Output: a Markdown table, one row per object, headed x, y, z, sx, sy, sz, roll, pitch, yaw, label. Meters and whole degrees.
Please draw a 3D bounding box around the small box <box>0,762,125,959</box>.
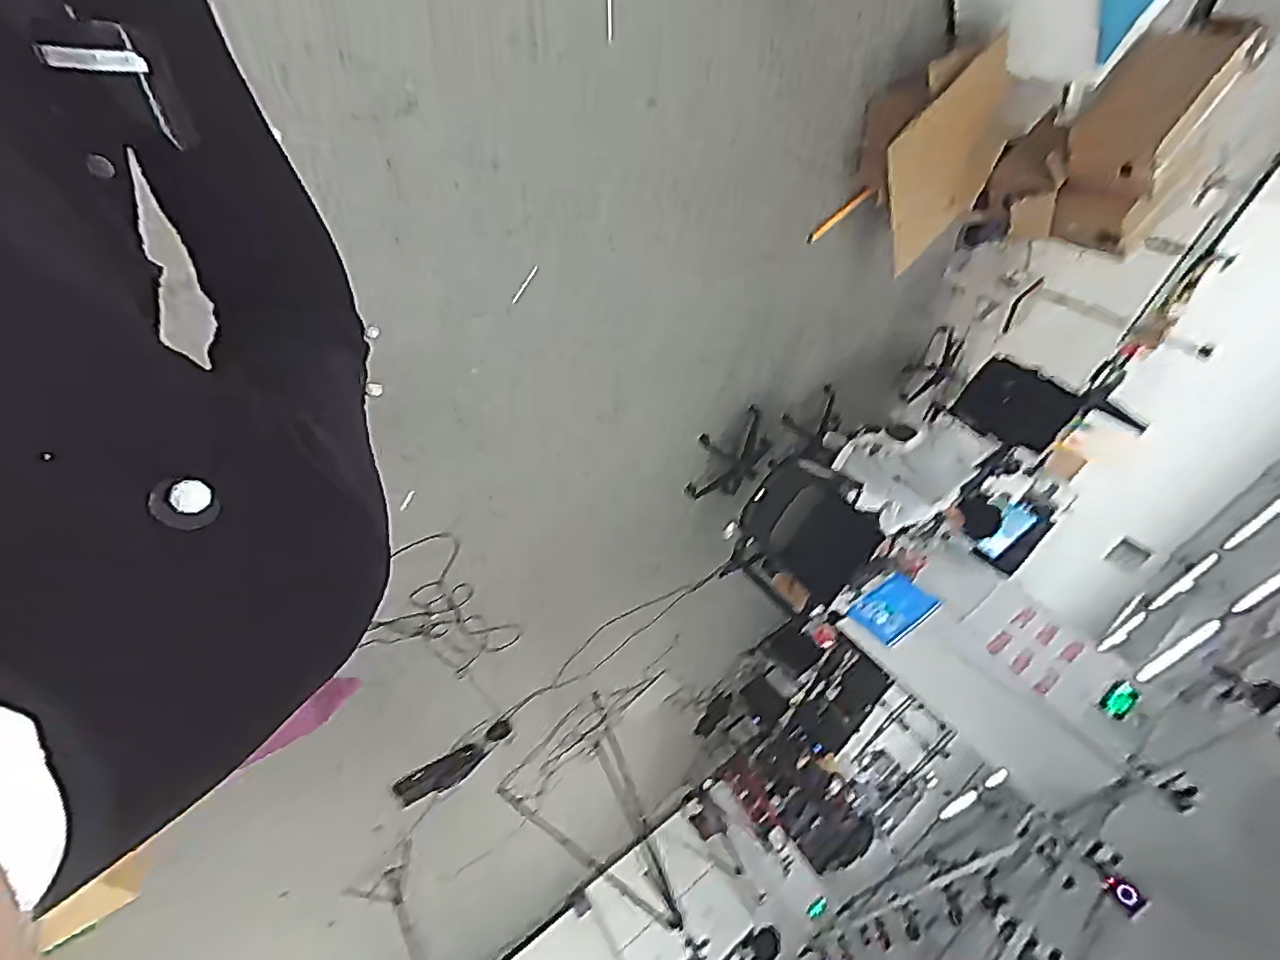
| x | y | z | sx | sy | sz | roll | pitch | yaw | label |
| --- | --- | --- | --- | --- | --- | --- | --- | --- | --- |
| -0.849 | 0.519 | 0.729 | 0.168 | 0.176 | 0.179 | -24 | 140 | -27 | small box |
